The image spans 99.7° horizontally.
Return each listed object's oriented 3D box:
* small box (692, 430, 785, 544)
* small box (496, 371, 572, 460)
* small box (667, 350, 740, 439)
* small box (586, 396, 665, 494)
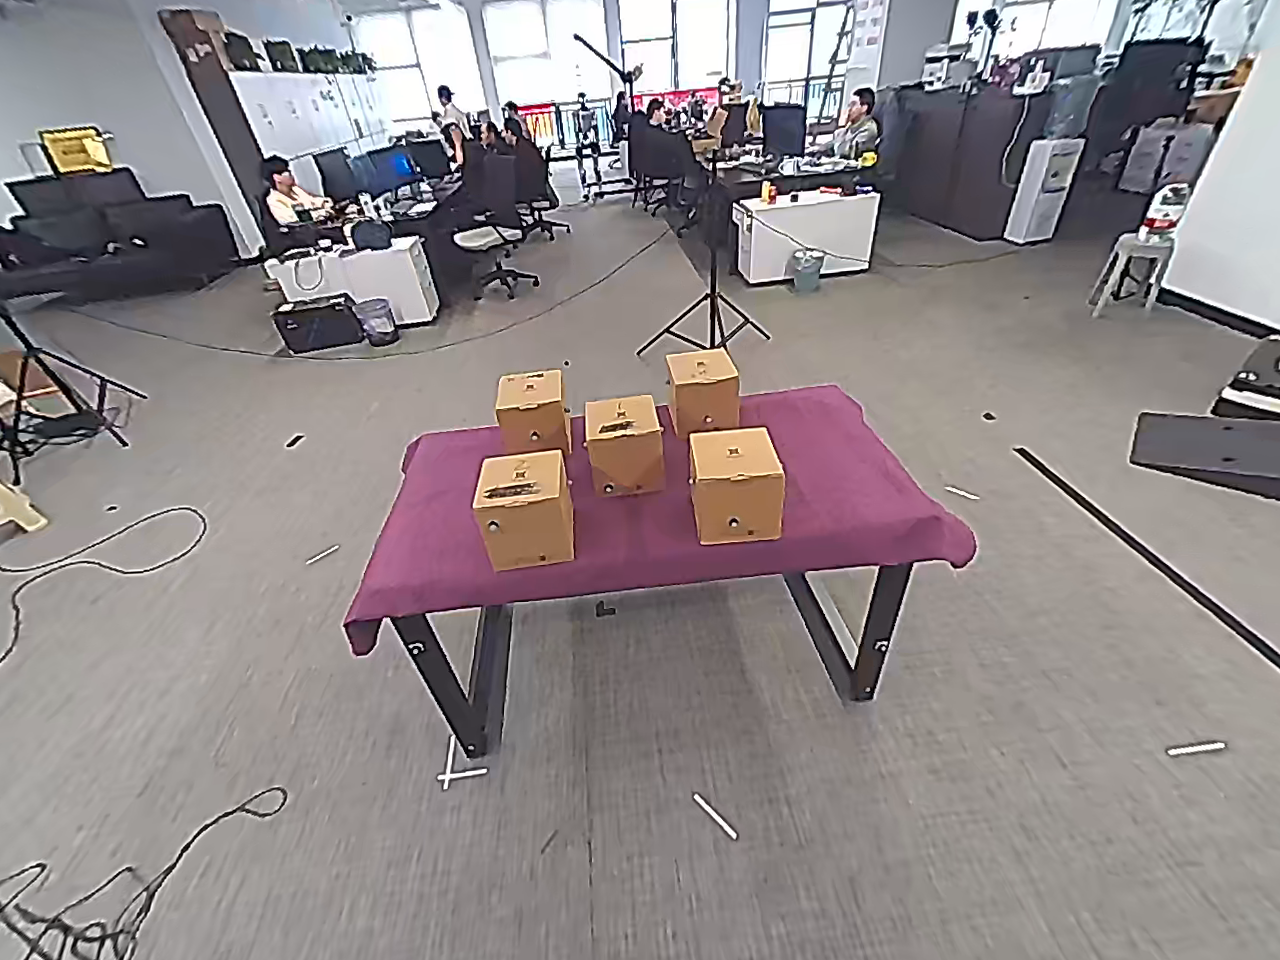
[{"bbox_3d":[0.199,0.013,1.140,0.168,0.176,0.179,-5,36,2],"label":"small box"},{"bbox_3d":[-0.274,-0.166,1.440,0.168,0.176,0.179,-7,39,-3],"label":"small box"},{"bbox_3d":[0.168,-0.233,1.466,0.168,0.176,0.179,-8,38,-1],"label":"small box"},{"bbox_3d":[-0.035,-0.079,1.295,0.168,0.176,0.179,-7,36,-2],"label":"small box"}]
